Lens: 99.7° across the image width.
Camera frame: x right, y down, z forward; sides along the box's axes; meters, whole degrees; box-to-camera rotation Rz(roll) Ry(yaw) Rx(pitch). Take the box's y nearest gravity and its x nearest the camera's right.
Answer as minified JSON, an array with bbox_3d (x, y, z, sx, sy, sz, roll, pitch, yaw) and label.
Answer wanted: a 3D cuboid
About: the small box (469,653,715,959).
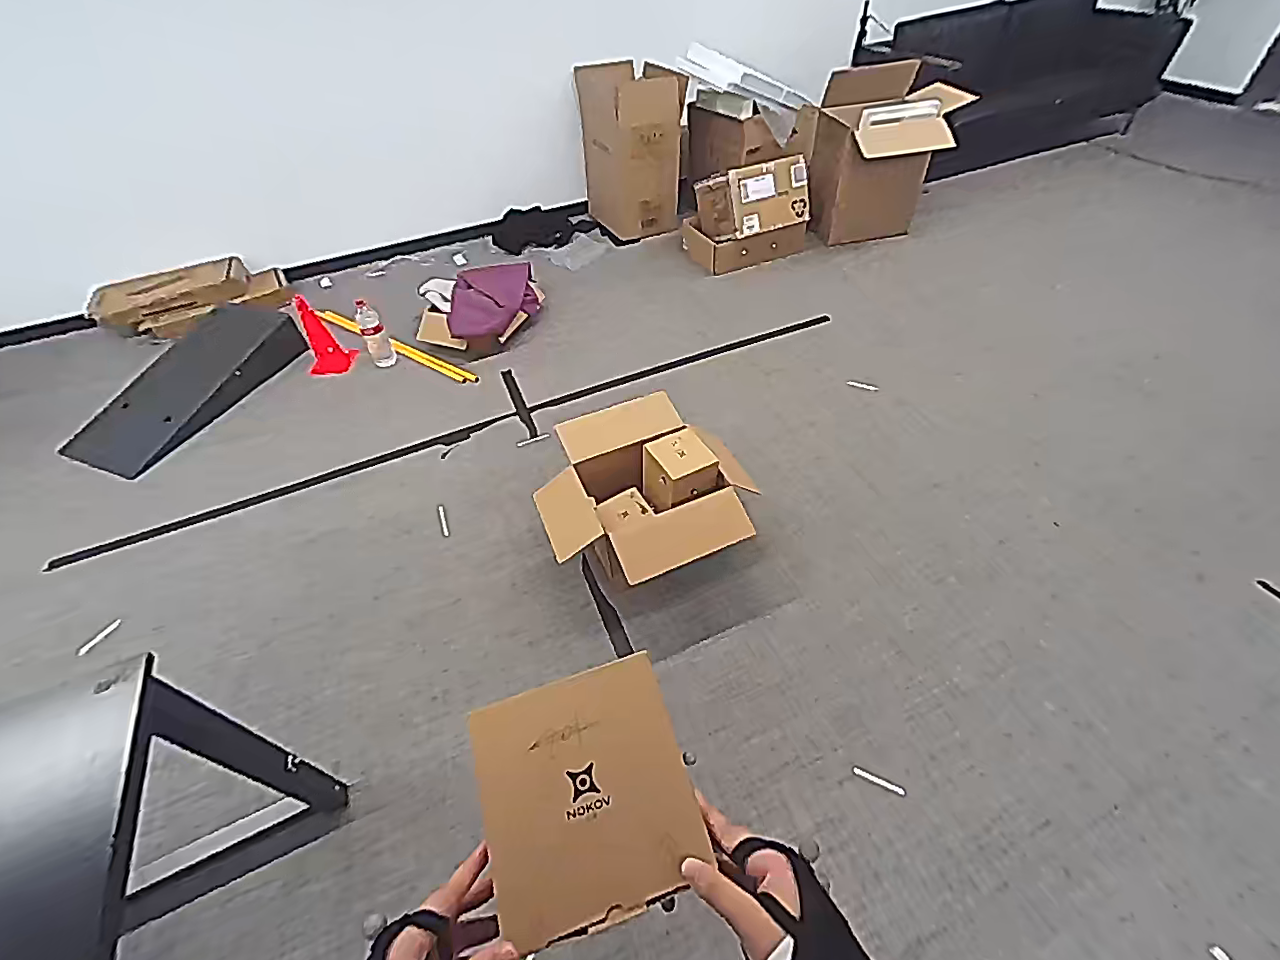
[{"bbox_3d":[-0.041,0.289,0.502,0.168,0.176,0.179,-17,58,-9],"label":"small box"}]

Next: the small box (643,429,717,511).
[{"bbox_3d":[0.121,-0.025,1.688,0.168,0.176,0.179,-22,50,-20],"label":"small box"}]
